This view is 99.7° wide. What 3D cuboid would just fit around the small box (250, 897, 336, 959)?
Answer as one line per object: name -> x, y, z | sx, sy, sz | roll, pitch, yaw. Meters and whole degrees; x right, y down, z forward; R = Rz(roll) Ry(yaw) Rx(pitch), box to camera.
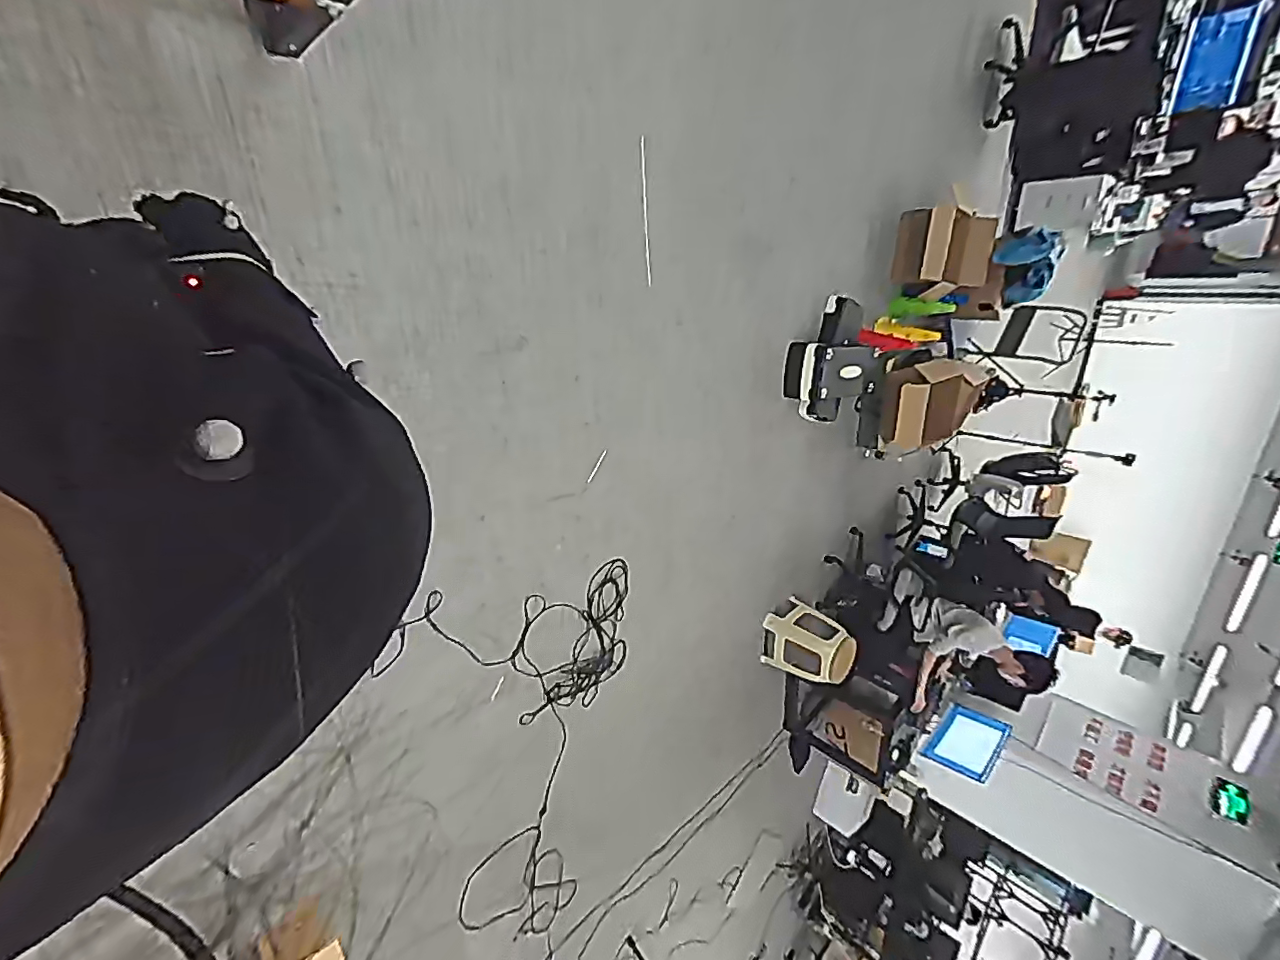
small box -> -0.995, 1.372, 1.562 | 0.168, 0.176, 0.179 | -21, 118, -41
